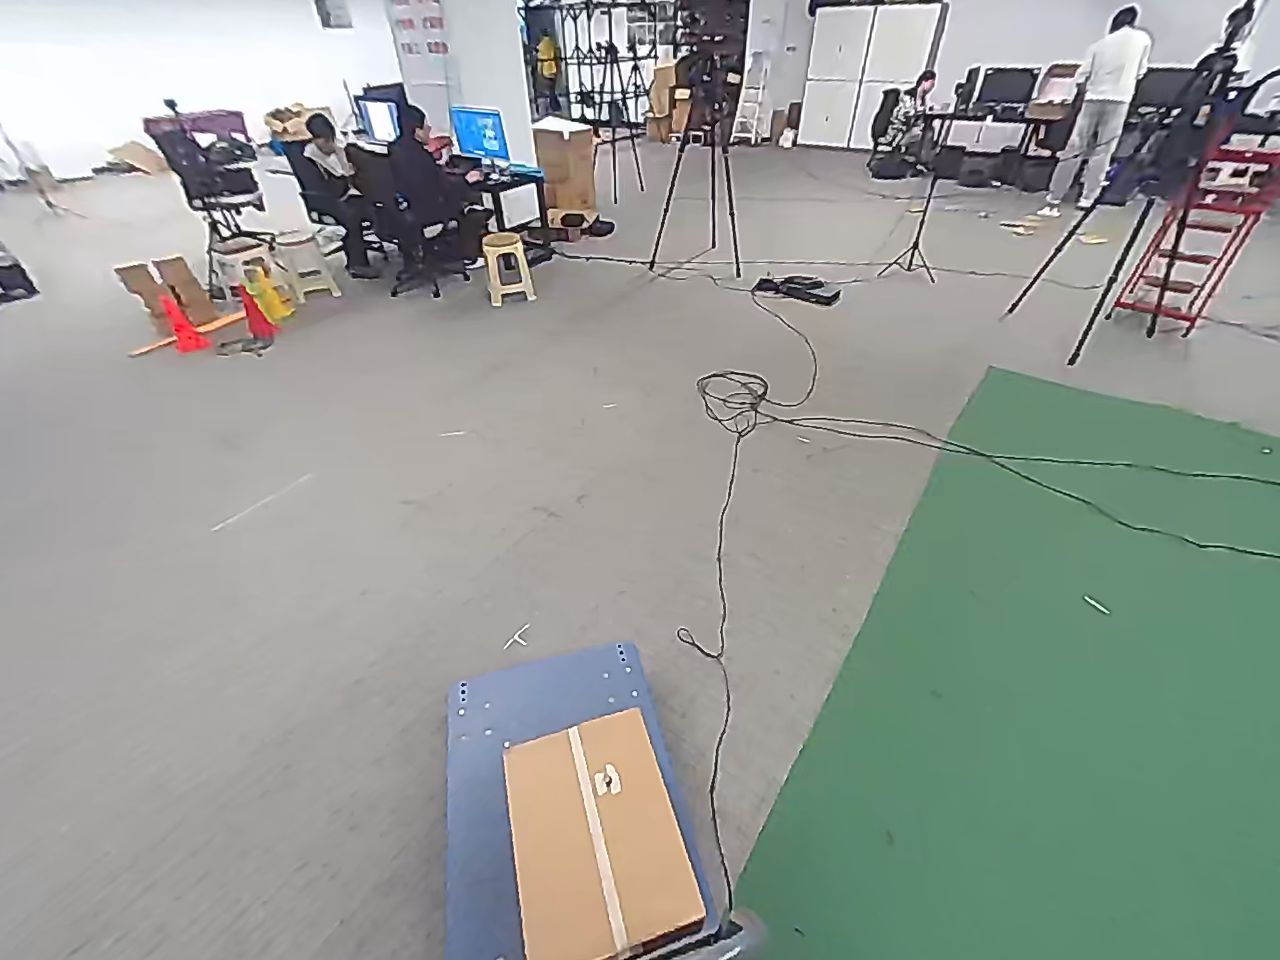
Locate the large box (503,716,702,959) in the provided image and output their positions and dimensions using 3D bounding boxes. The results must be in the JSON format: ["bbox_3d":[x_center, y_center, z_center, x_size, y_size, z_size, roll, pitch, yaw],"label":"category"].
[{"bbox_3d":[-0.089,0.809,1.163,0.320,0.320,0.408,-12,40,-13],"label":"large box"}]
